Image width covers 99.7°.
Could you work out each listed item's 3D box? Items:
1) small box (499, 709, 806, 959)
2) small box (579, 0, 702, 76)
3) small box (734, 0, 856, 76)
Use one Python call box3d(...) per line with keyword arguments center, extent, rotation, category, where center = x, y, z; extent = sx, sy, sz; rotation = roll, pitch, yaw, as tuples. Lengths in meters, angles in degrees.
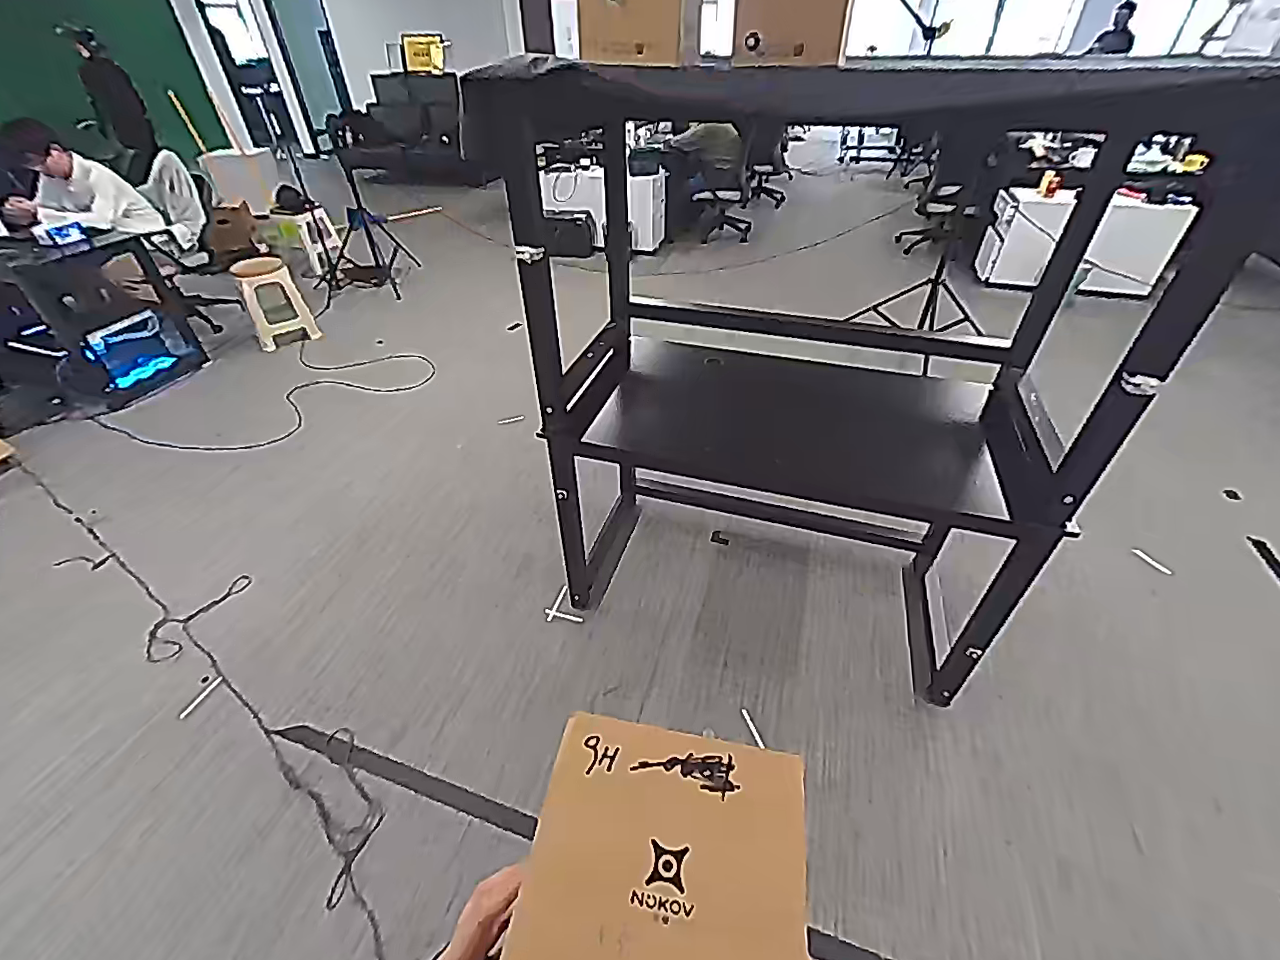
box3d(center=(0.014, 0.290, 0.374), extent=(0.168, 0.176, 0.179), rotation=(8, 47, 7), category="small box")
box3d(center=(0.006, -0.767, 0.880), extent=(0.168, 0.176, 0.179), rotation=(12, 39, 13), category="small box")
box3d(center=(0.245, -0.738, 0.839), extent=(0.168, 0.176, 0.179), rotation=(12, 38, 15), category="small box")
